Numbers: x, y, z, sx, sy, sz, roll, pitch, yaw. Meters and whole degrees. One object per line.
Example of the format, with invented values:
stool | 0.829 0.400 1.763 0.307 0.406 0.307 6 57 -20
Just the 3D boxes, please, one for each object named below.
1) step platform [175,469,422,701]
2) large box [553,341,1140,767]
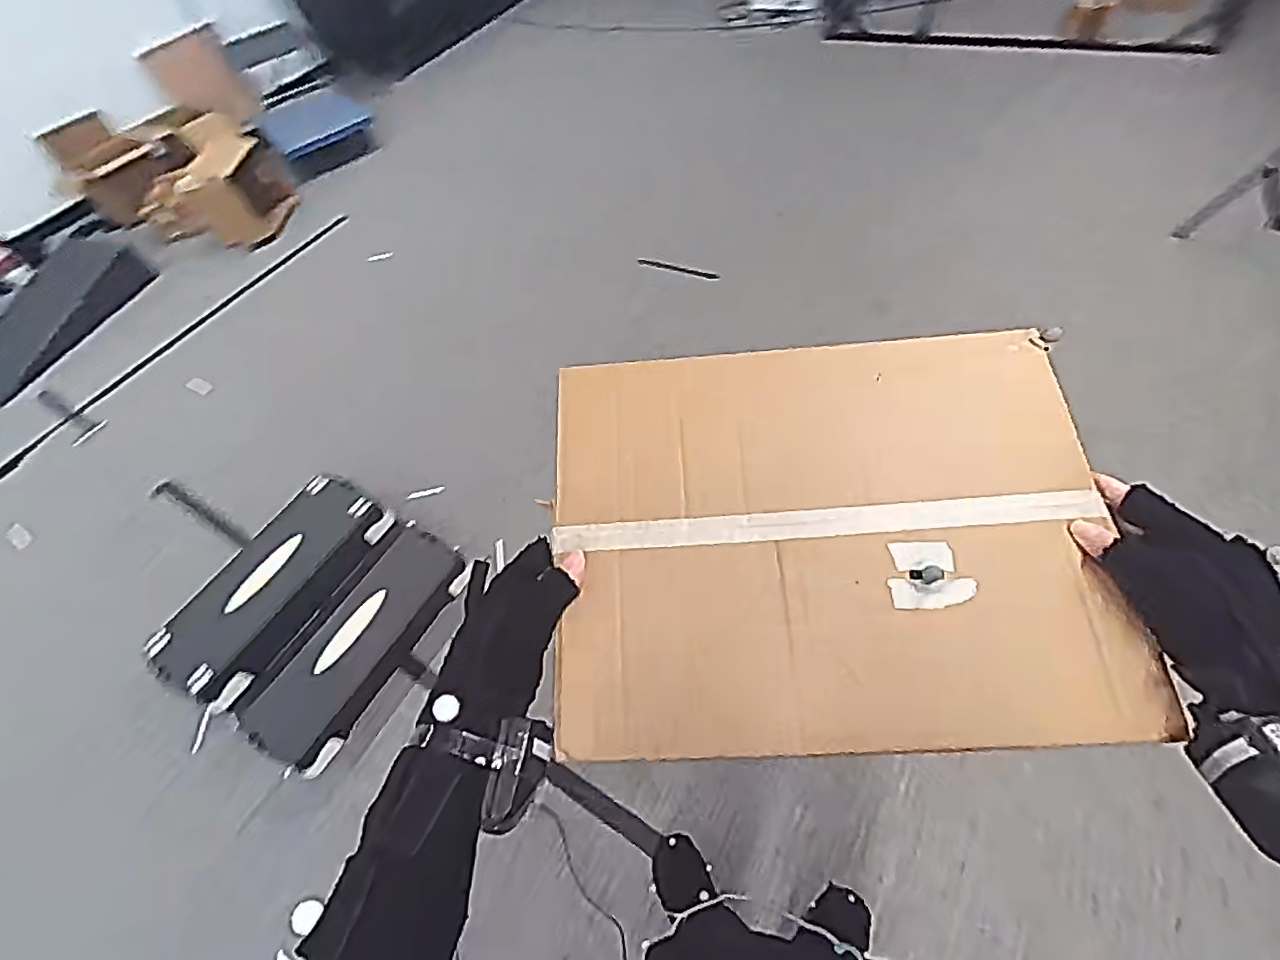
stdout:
step platform | -1.005 0.290 1.635 0.286 0.204 0.684 22 61 23
large box | 0.139 0.094 0.562 0.408 0.320 0.320 -5 69 3
